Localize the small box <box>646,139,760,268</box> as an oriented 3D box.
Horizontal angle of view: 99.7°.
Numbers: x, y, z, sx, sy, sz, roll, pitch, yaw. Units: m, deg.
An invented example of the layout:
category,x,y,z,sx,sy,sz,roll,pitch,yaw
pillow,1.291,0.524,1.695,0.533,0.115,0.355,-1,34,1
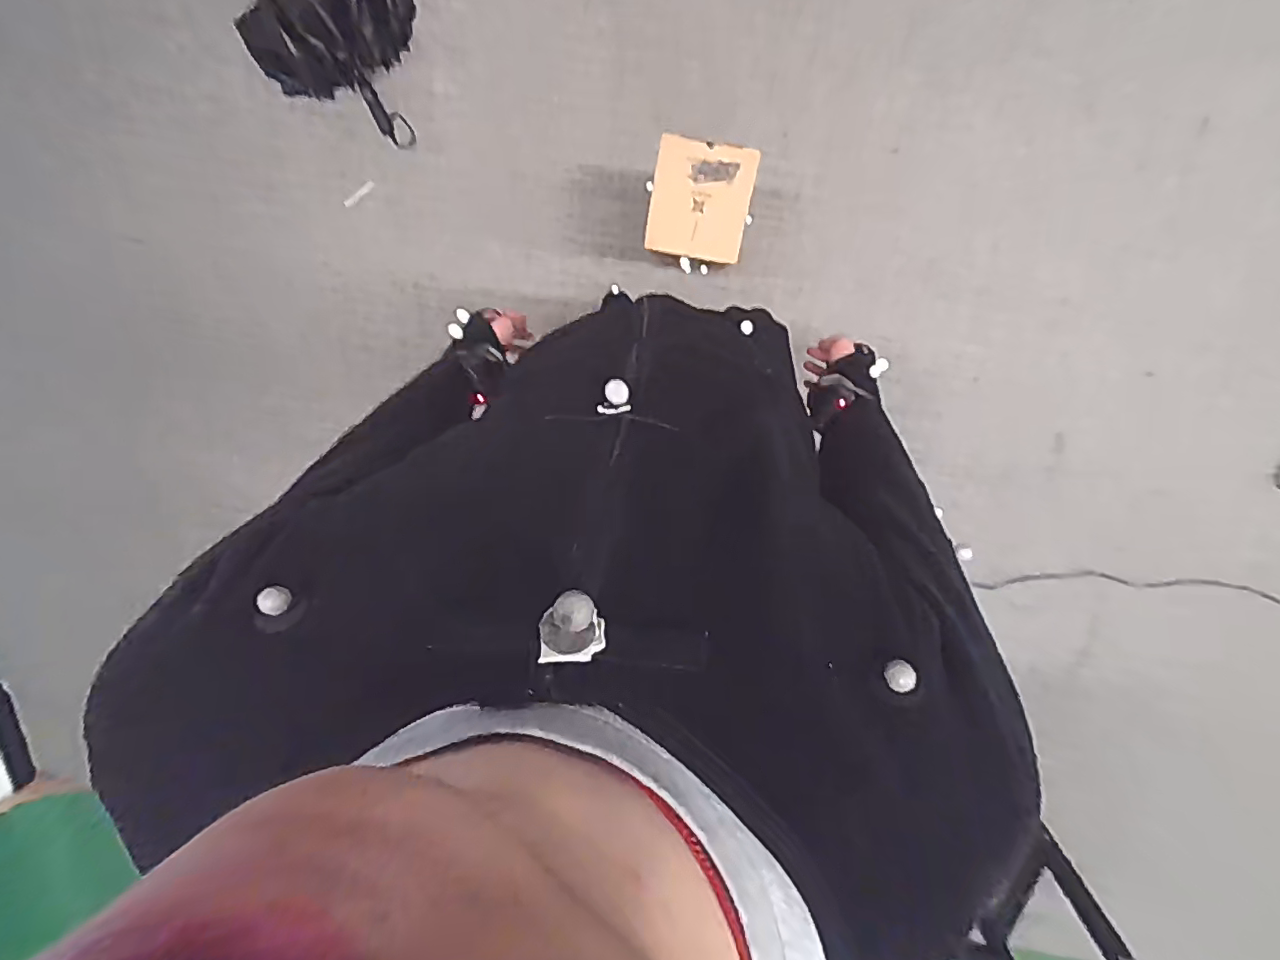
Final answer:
category,x,y,z,sx,sy,sz,roll,pitch,yaw
small box,0.108,-0.494,0.989,0.168,0.176,0.179,10,112,1
